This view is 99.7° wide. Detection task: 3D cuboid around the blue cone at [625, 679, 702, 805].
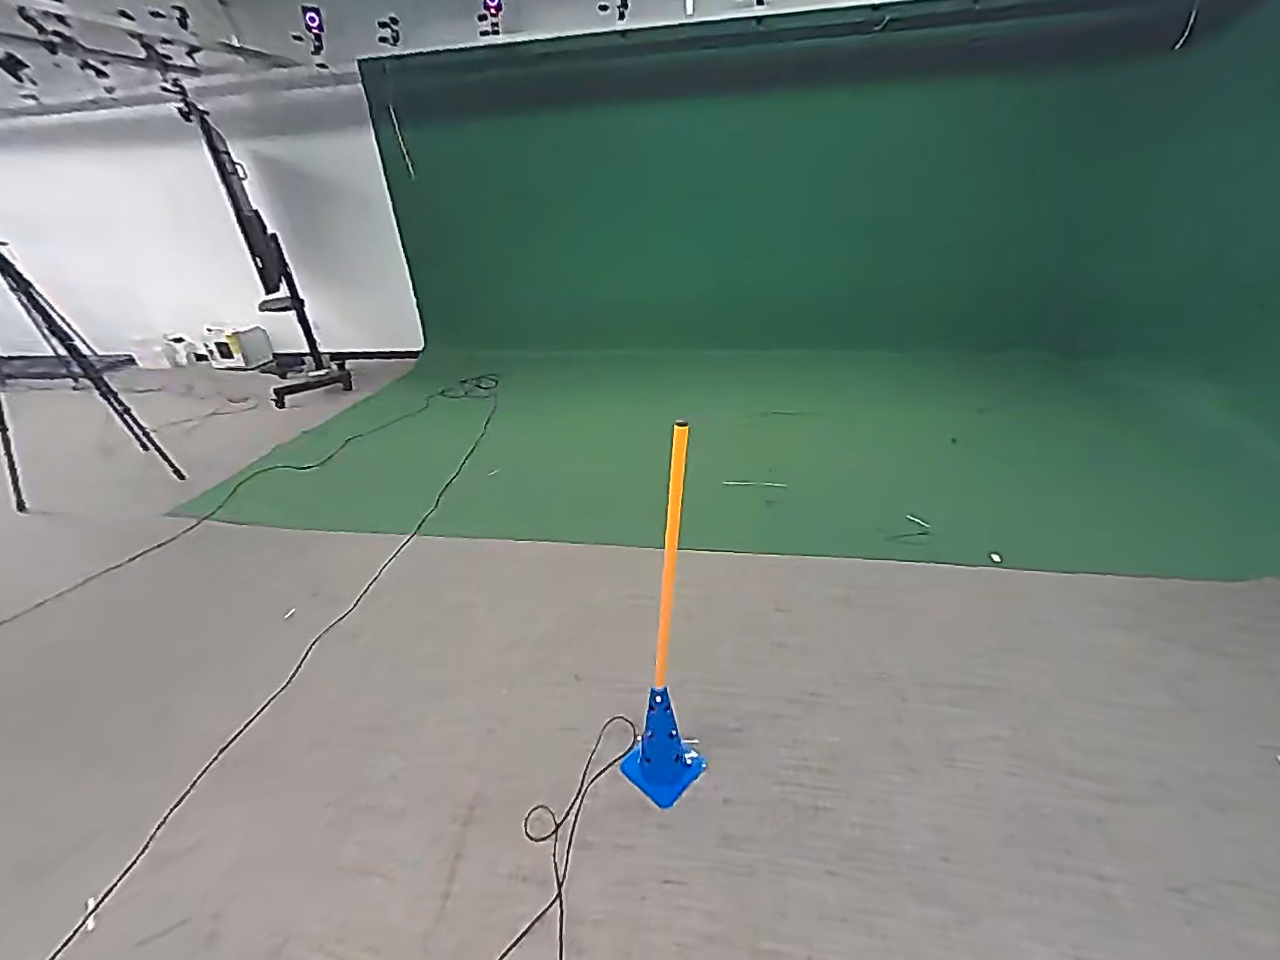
[{"bbox_3d":[0.064,0.708,1.544,0.192,0.380,0.193,22,37,37],"label":"blue cone"}]
